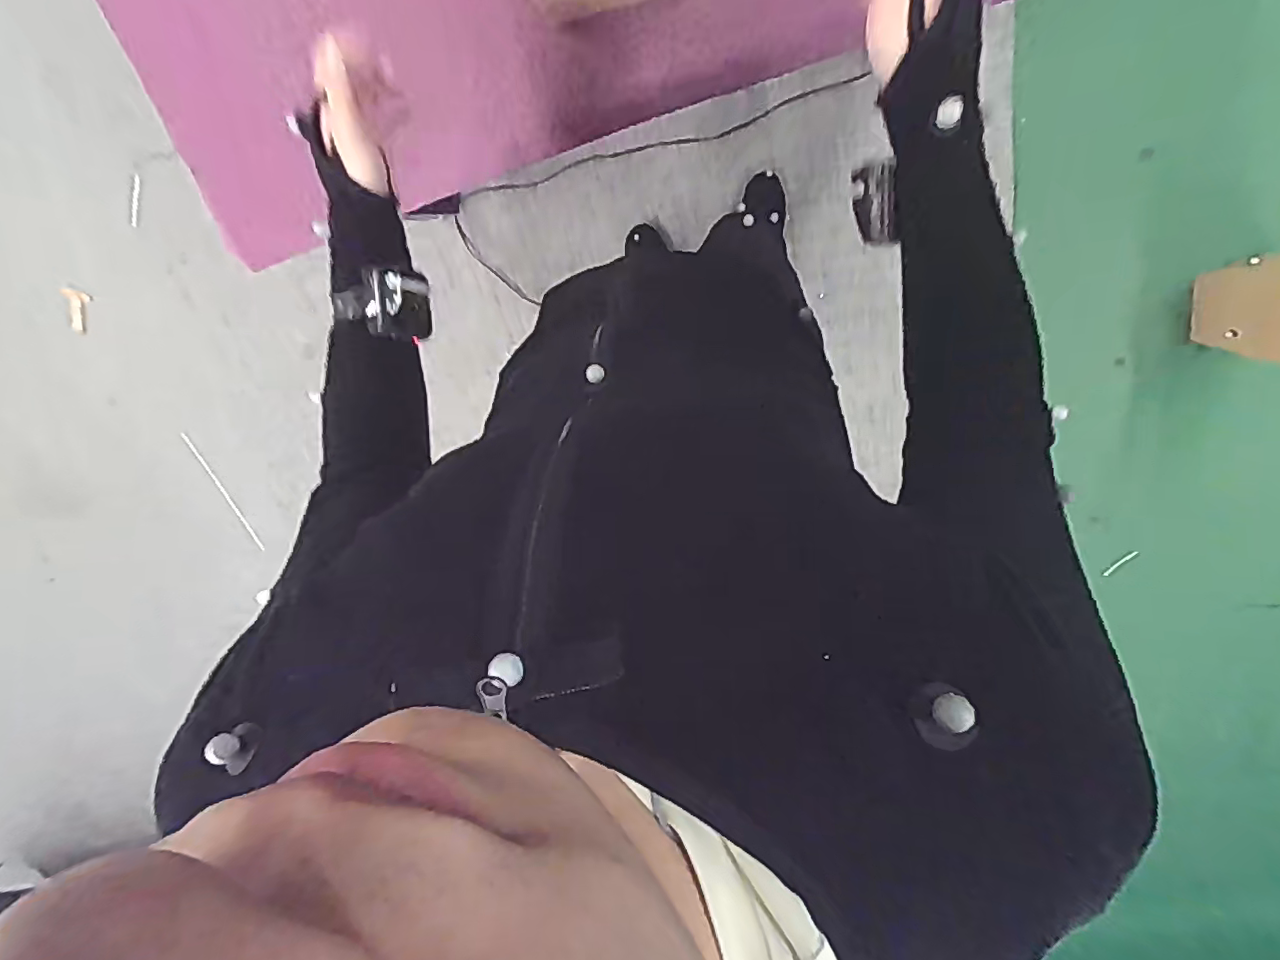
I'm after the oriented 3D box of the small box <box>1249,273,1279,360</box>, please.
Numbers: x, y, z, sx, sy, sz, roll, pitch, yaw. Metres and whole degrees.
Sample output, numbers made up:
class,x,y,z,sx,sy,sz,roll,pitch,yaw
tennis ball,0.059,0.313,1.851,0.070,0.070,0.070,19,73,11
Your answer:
class,x,y,z,sx,sy,sz,roll,pitch,yaw
small box,1.476,-0.355,1.154,0.168,0.176,0.179,-14,114,12

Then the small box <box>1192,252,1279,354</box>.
class,x,y,z,sx,sy,sz,roll,pitch,yaw
small box,1.488,-0.428,1.298,0.168,0.176,0.179,-15,114,12
